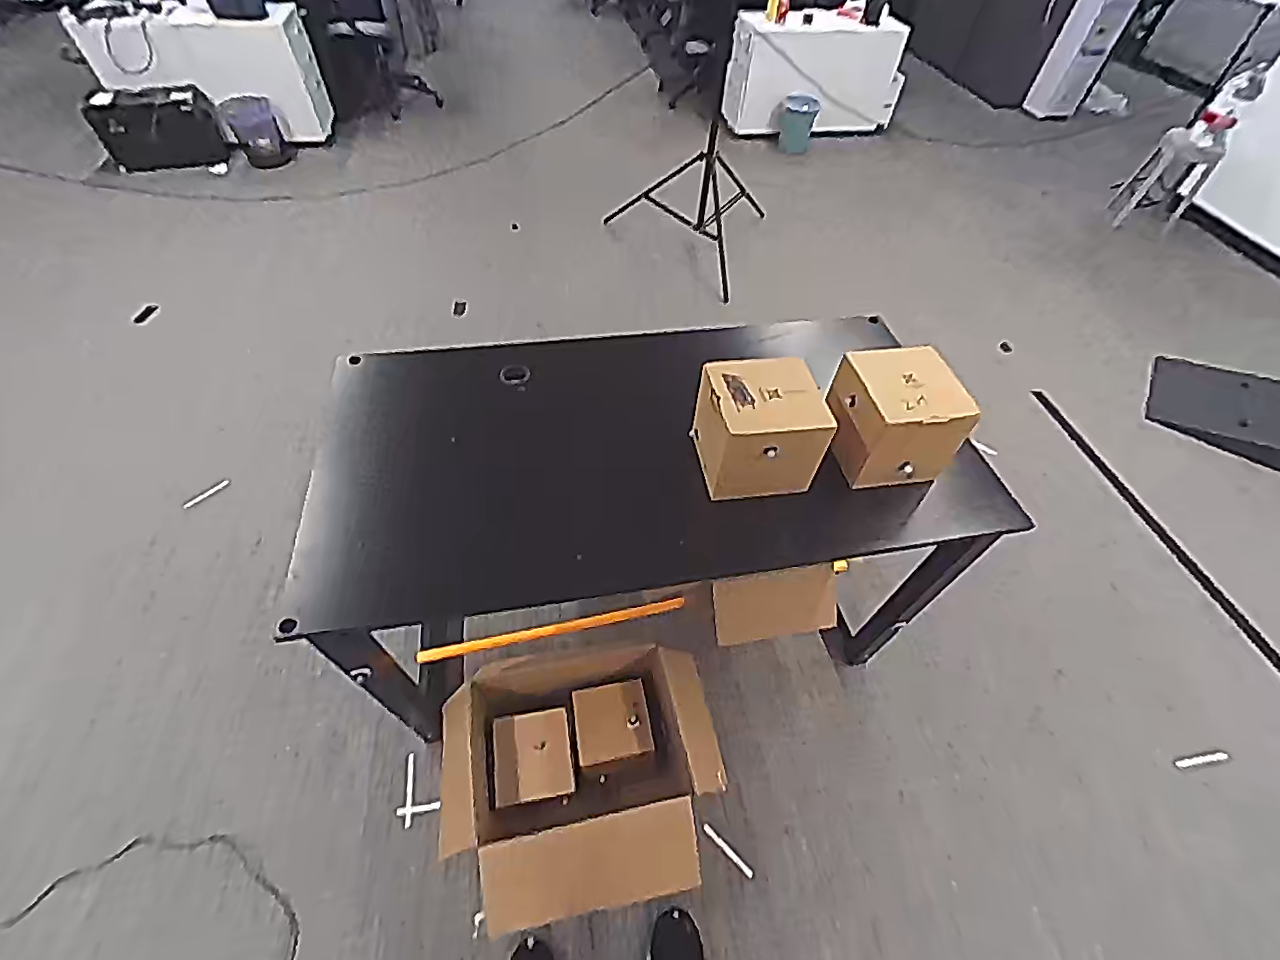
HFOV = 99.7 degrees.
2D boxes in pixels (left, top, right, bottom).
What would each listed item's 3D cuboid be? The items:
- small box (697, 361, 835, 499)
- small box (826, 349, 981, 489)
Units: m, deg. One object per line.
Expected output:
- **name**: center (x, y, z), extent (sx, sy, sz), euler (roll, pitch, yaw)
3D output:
- **small box**: center (0.198, -0.082, 0.920), extent (0.179, 0.176, 0.168), euler (-5, 52, -8)
- **small box**: center (0.441, -0.106, 0.952), extent (0.168, 0.176, 0.179), euler (-6, 52, -6)
